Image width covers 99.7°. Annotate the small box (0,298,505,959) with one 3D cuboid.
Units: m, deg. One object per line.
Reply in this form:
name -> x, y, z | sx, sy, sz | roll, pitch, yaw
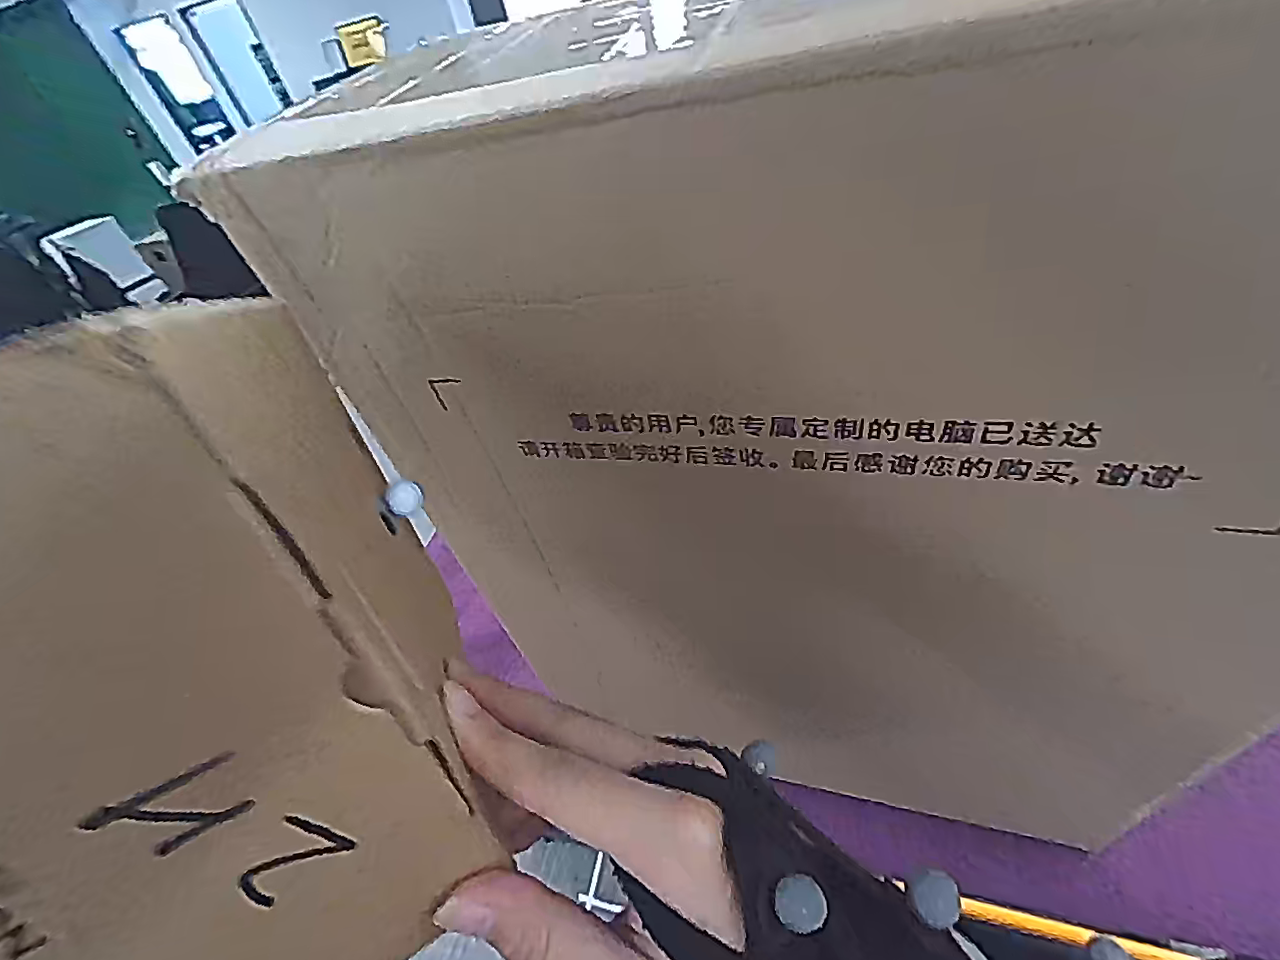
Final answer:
small box -> -0.166, 0.053, 0.165 | 0.179, 0.168, 0.176 | -26, 28, -16
